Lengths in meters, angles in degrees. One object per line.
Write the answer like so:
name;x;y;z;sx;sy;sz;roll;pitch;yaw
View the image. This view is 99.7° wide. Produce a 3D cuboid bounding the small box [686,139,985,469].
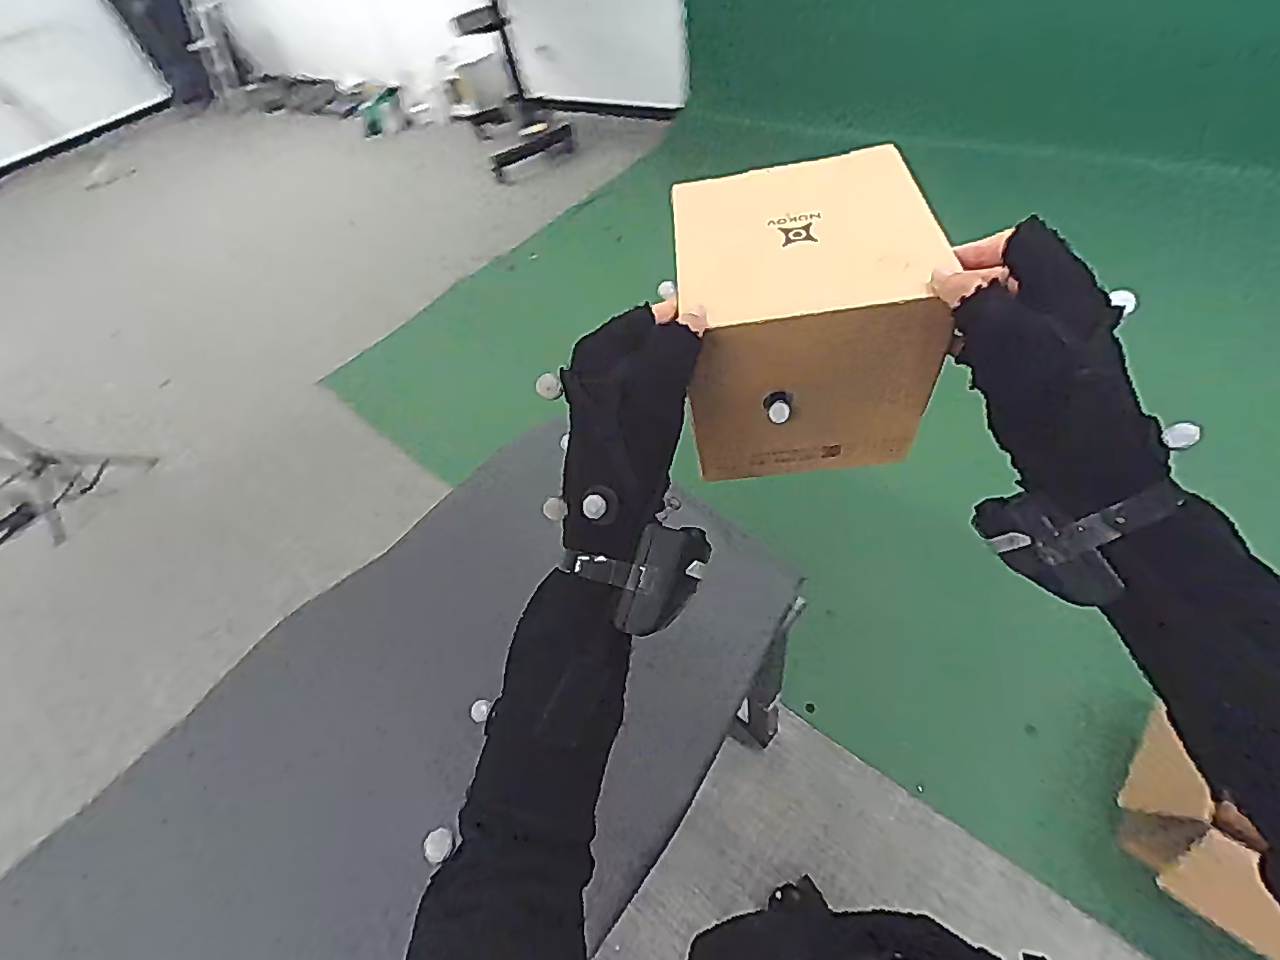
small box;0.128;-0.120;0.418;0.168;0.176;0.179;-5;55;10
